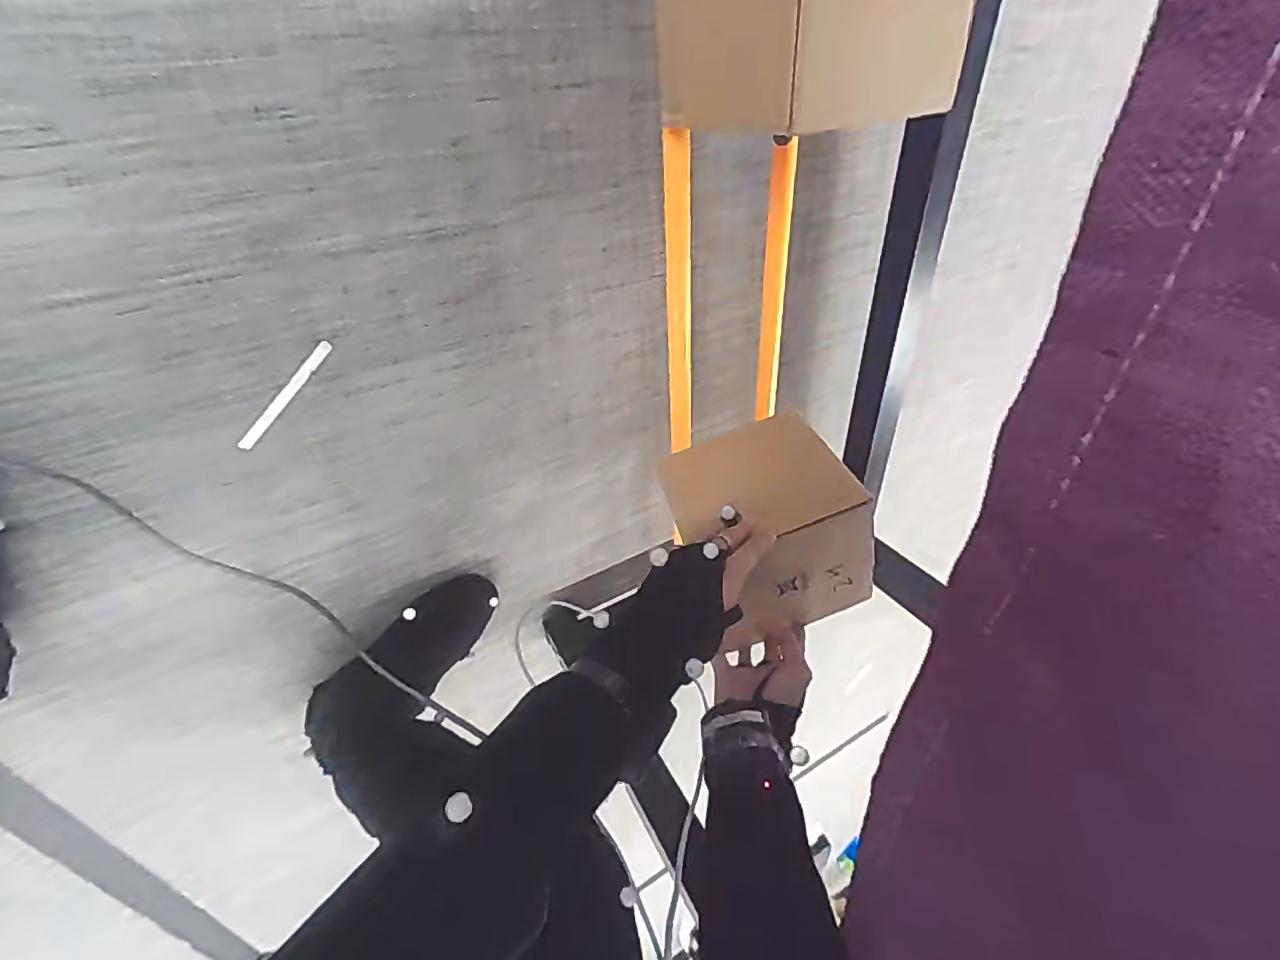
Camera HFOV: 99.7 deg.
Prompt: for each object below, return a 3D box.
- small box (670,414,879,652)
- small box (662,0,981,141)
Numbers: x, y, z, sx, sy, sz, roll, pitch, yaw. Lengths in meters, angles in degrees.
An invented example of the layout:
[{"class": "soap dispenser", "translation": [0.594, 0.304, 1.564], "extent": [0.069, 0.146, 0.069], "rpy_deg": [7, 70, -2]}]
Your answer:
[{"class": "small box", "translation": [0.142, 0.055, 0.609], "extent": [0.179, 0.176, 0.168], "rpy_deg": [-21, 131, 0]}, {"class": "small box", "translation": [0.125, -0.364, 0.396], "extent": [0.168, 0.176, 0.179], "rpy_deg": [-22, 129, -20]}]
